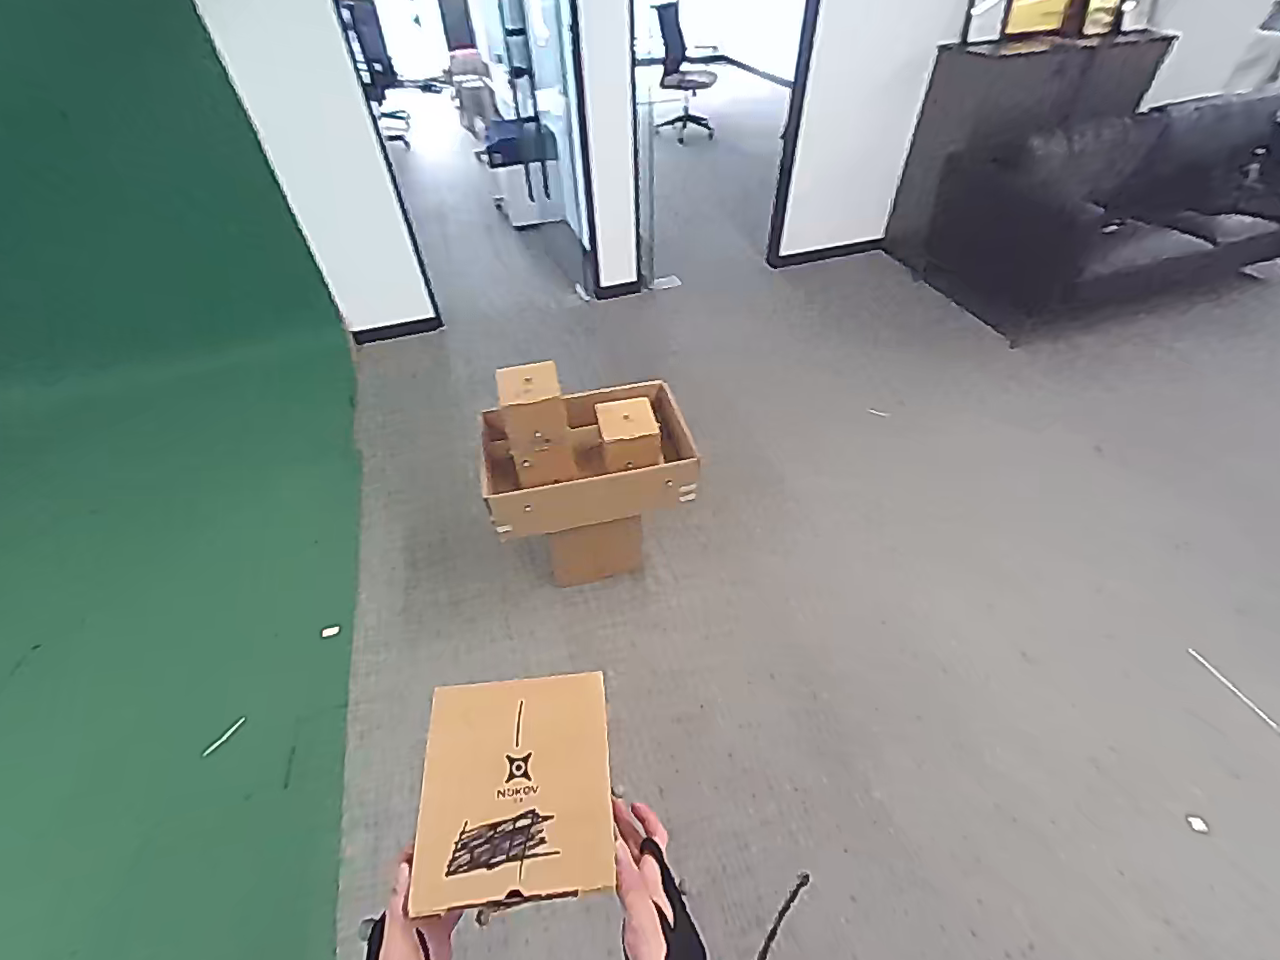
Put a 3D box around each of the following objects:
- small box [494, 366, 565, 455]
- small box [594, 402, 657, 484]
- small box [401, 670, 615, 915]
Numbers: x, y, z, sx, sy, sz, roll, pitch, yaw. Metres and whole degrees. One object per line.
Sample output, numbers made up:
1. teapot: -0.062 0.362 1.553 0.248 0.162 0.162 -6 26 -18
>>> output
1. small box: -0.312 -0.197 1.531 0.168 0.176 0.179 -11 47 -8
2. small box: -0.046 -0.114 1.675 0.168 0.176 0.179 -10 47 -8
3. small box: -0.112 0.306 0.531 0.168 0.176 0.179 -3 51 -5
